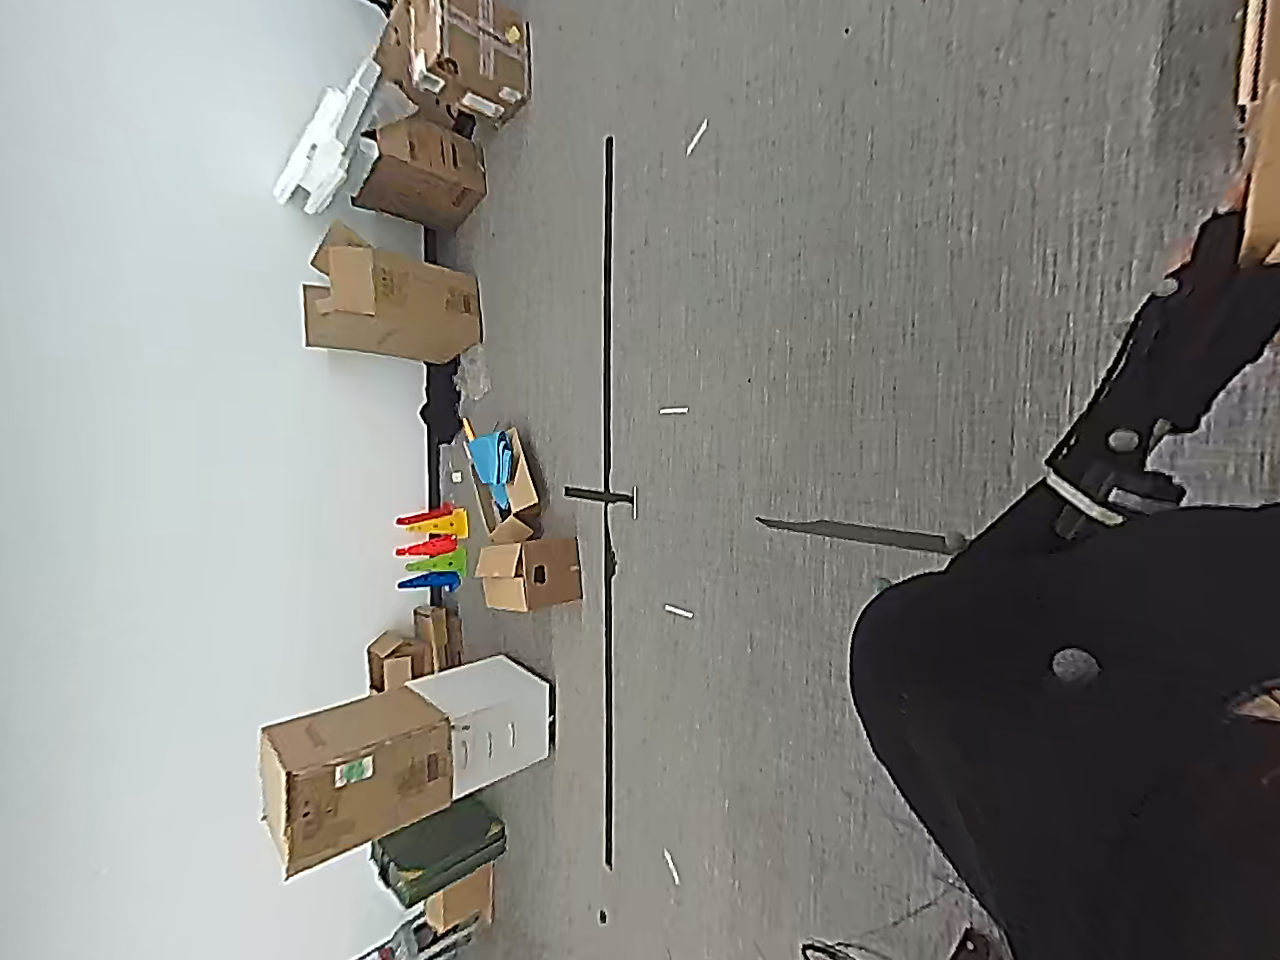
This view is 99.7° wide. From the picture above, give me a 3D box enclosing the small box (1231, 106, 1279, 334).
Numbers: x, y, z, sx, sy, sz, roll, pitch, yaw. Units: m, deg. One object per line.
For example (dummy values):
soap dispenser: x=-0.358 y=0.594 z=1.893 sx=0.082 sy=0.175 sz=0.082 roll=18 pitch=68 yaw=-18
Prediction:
small box: x=0.514 y=-0.185 z=0.338 sx=0.179 sy=0.176 sz=0.168 roll=8 pitch=107 yaw=45
